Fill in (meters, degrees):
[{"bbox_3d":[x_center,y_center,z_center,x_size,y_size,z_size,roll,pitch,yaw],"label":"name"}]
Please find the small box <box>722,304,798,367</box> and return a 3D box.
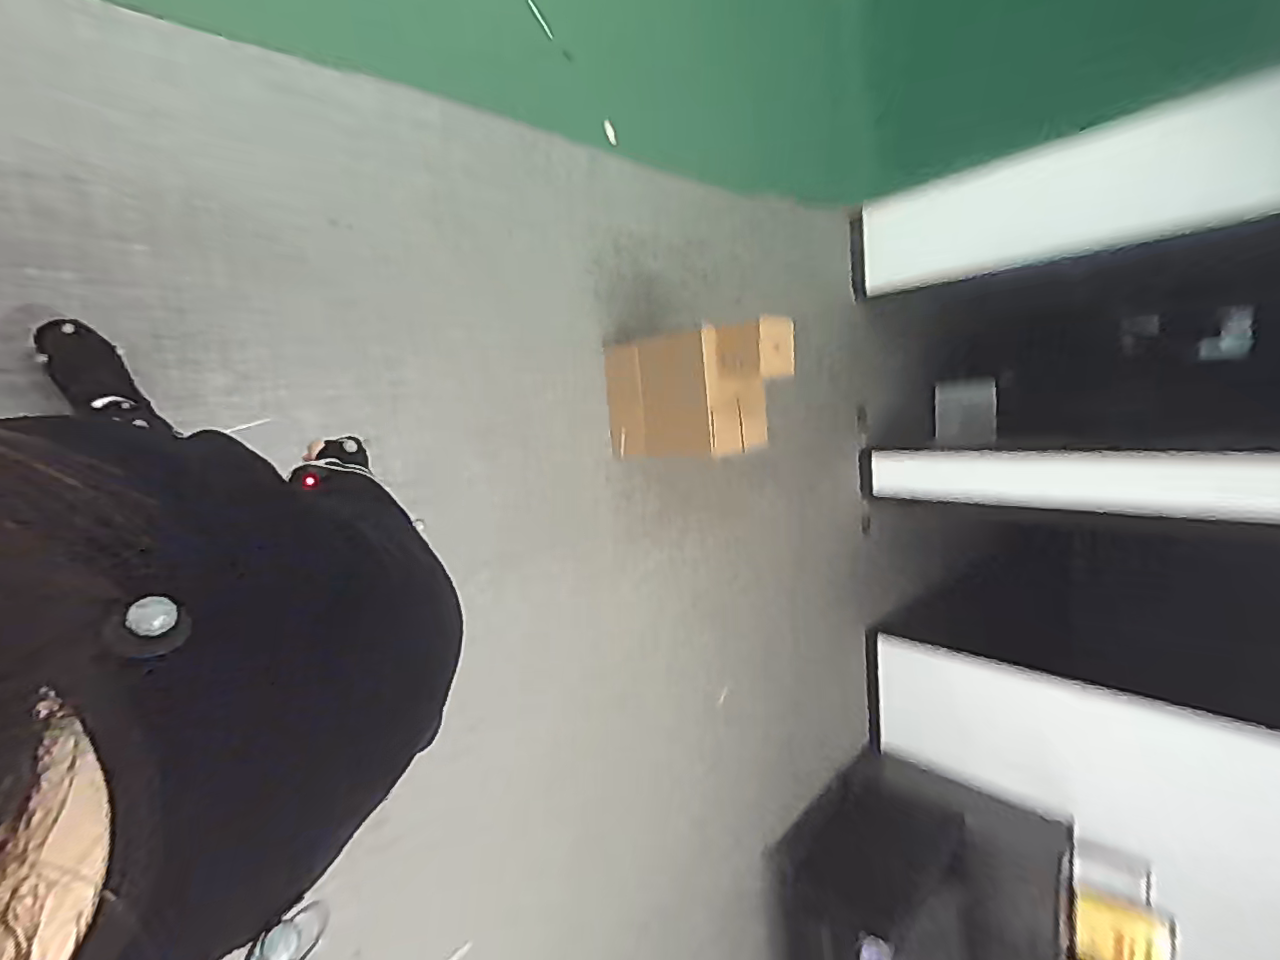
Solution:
[{"bbox_3d":[0.365,-0.438,1.659,0.179,0.176,0.168,-13,104,-40],"label":"small box"}]
